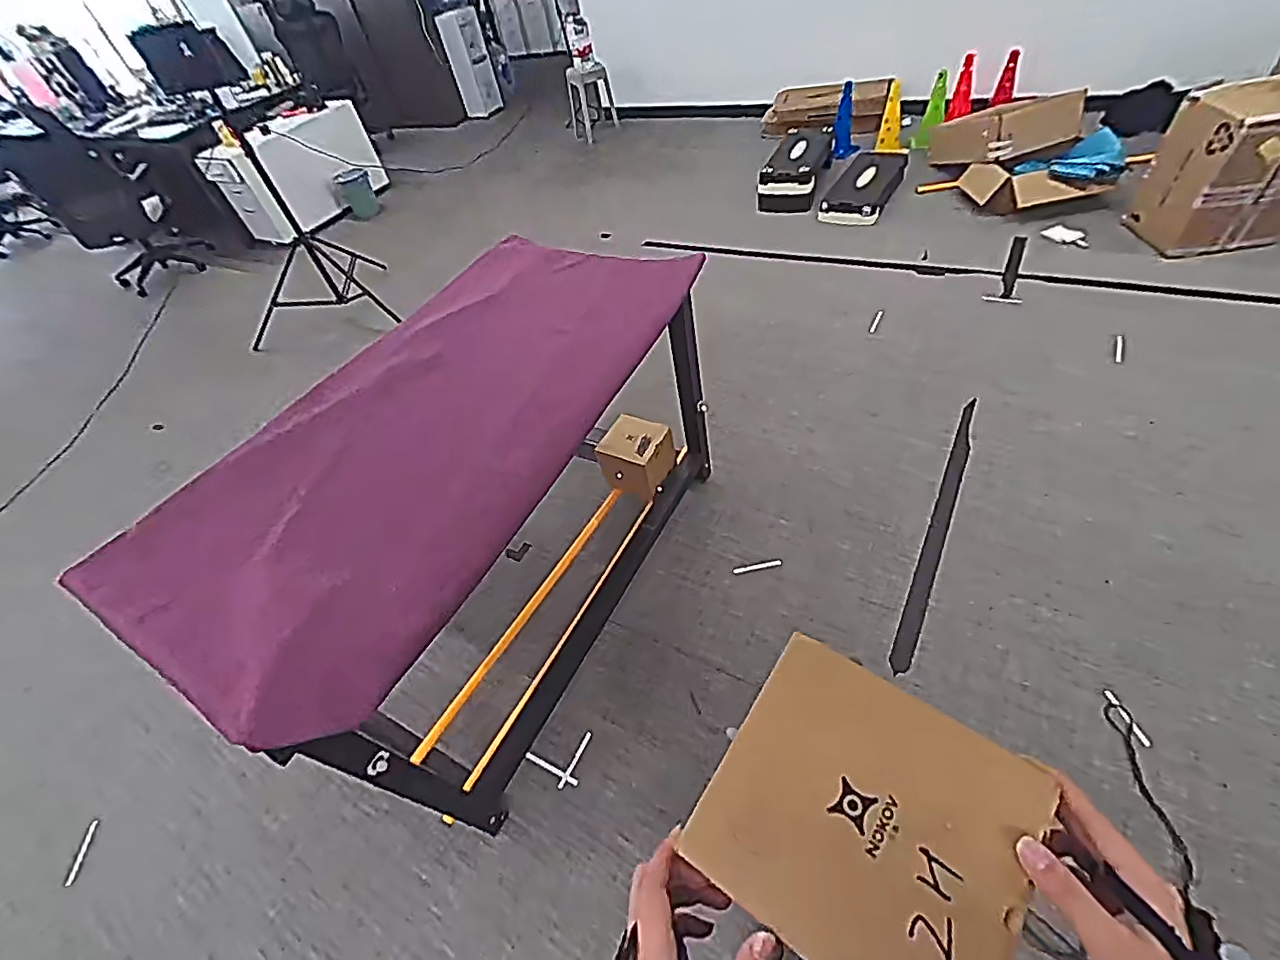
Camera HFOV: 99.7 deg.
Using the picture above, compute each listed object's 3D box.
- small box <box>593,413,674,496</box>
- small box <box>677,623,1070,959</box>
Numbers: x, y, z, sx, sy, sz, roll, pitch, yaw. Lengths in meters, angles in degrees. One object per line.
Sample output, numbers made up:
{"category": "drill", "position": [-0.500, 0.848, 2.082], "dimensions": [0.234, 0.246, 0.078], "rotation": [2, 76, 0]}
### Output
{"category": "small box", "position": [-0.012, -0.073, 1.641], "dimensions": [0.179, 0.176, 0.168], "rotation": [18, 56, 26]}
{"category": "small box", "position": [0.149, 0.239, 0.389], "dimensions": [0.179, 0.176, 0.168], "rotation": [27, 67, 25]}
